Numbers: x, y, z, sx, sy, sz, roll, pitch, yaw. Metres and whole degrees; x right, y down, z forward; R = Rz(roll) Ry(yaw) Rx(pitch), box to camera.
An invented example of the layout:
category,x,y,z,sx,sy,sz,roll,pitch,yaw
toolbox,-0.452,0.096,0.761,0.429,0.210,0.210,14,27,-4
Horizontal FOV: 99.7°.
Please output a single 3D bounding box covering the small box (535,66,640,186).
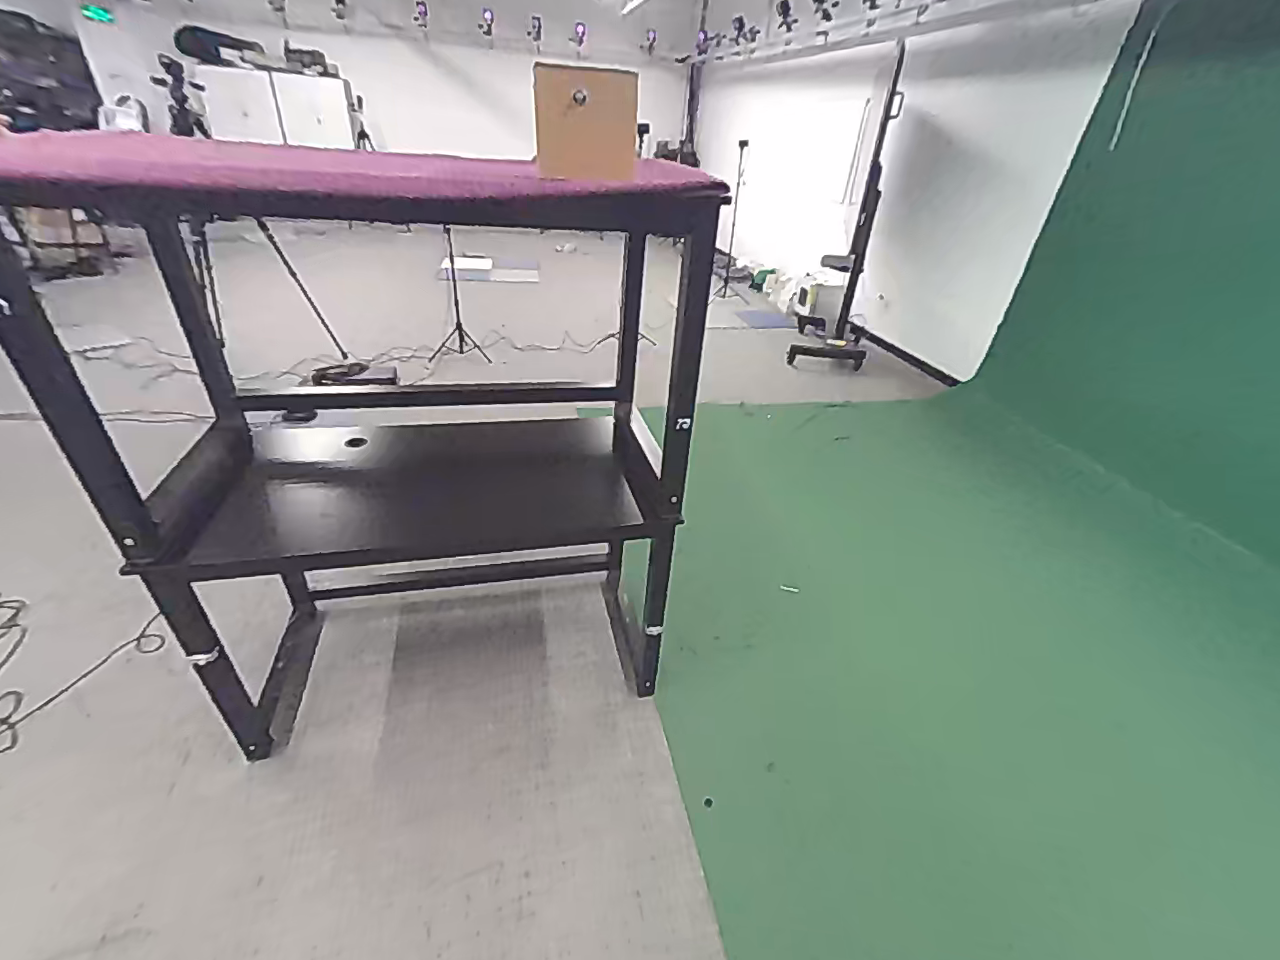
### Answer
category,x,y,z,sx,sy,sz,roll,pitch,yaw
small box,-0.098,-0.640,0.995,0.179,0.176,0.168,-1,31,-8
